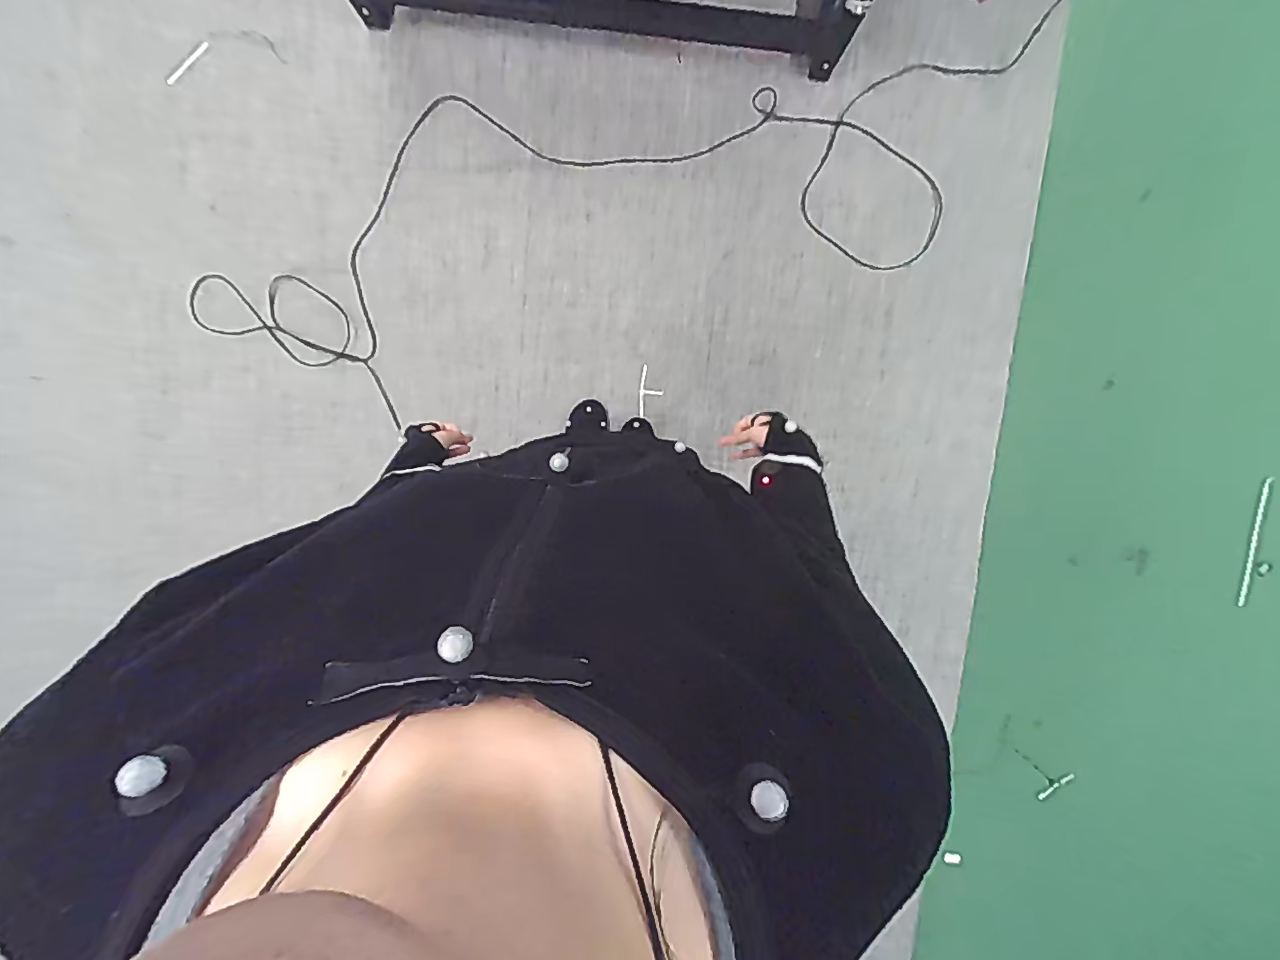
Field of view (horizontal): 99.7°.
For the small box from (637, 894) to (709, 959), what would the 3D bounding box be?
[{"bbox_3d":[0.086,1.303,1.517,0.179,0.176,0.168,3,96,-5],"label":"small box"}]
